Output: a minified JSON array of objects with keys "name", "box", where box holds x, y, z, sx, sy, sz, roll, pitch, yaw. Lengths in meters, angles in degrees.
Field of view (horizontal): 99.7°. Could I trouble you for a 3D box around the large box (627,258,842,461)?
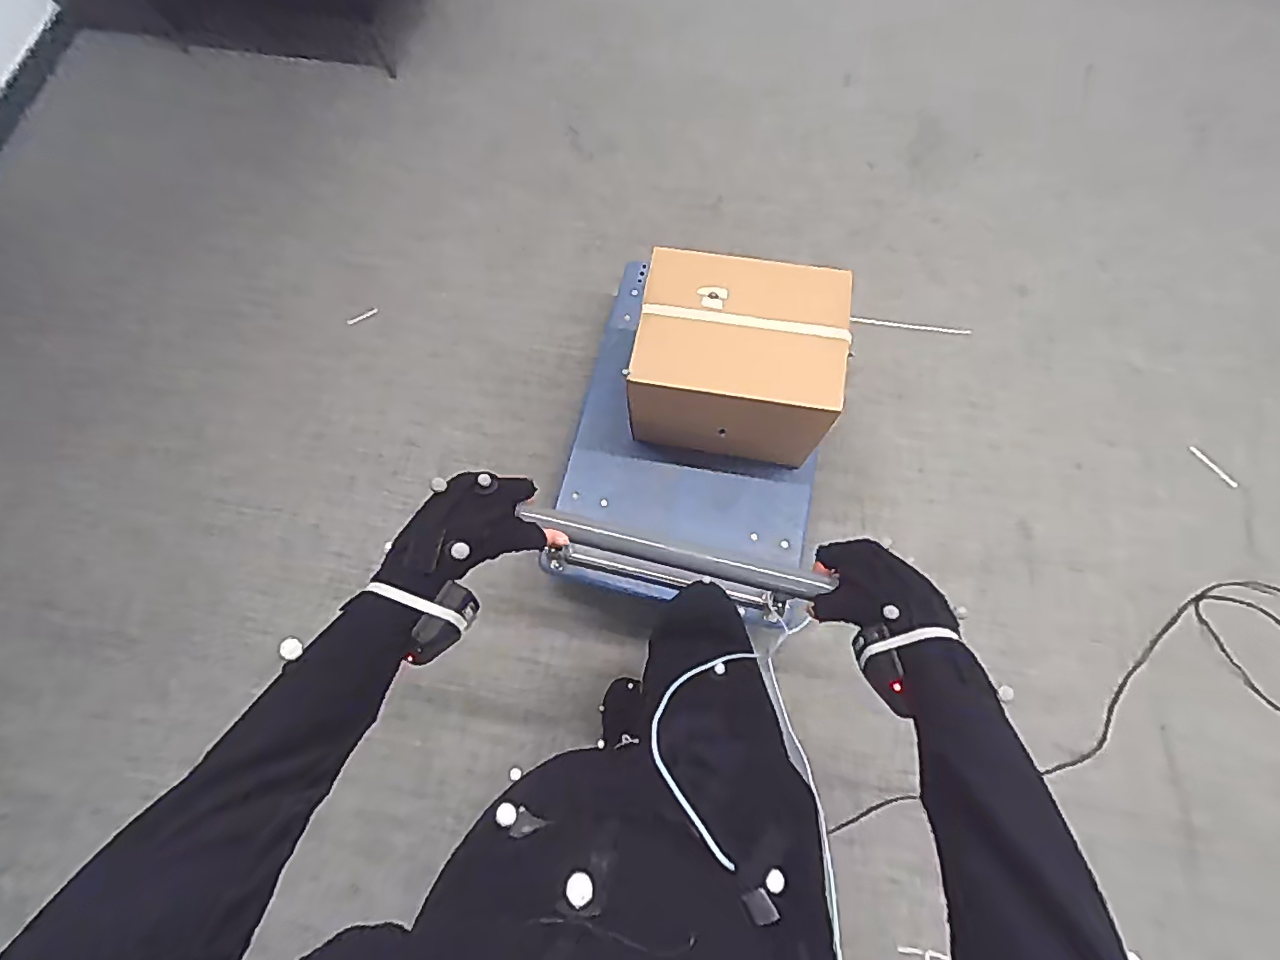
[{"name":"large box","box":[0.201,-0.250,1.204,0.408,0.320,0.320,8,72,5]}]
